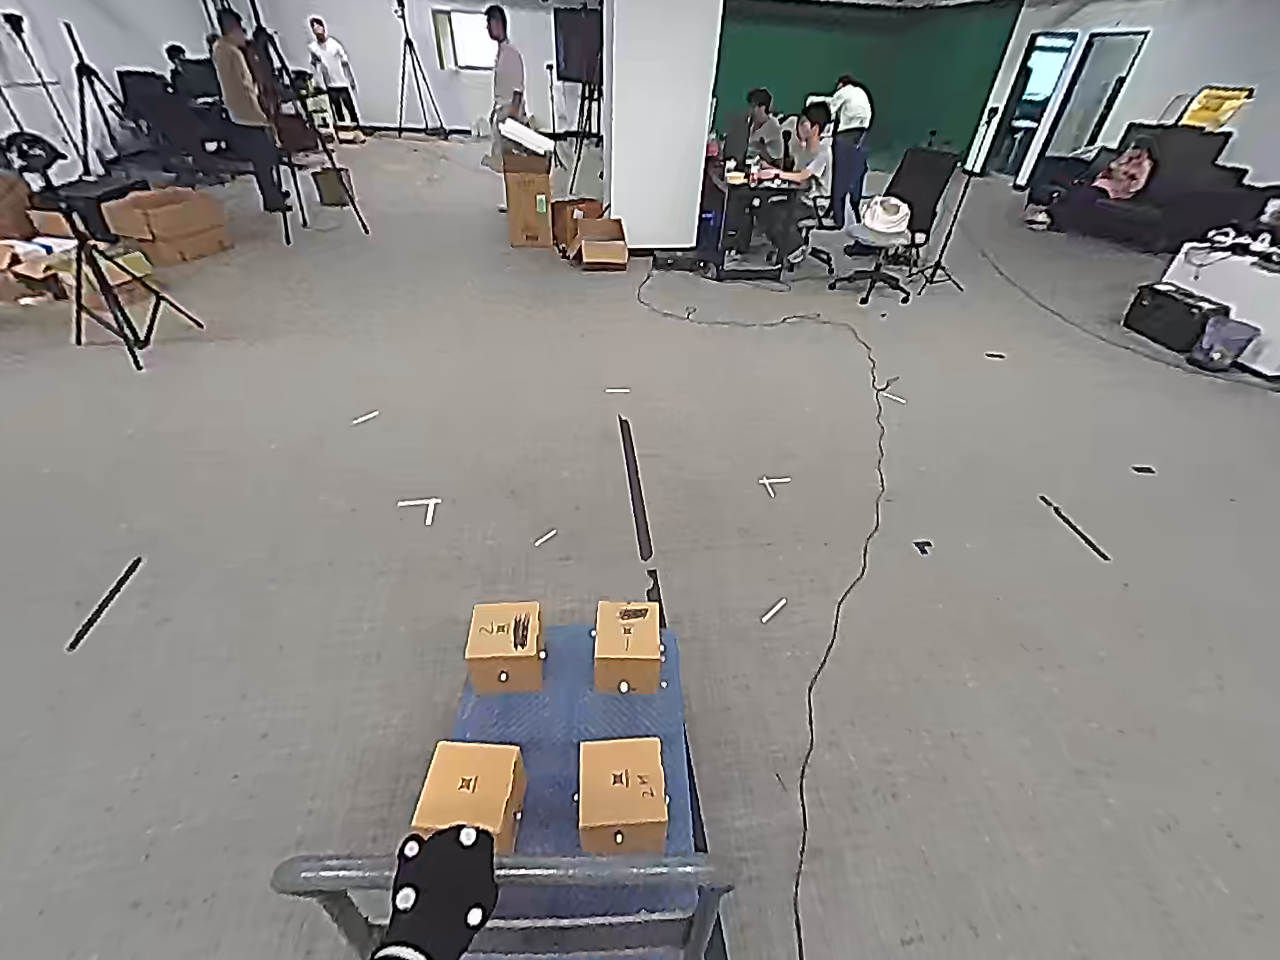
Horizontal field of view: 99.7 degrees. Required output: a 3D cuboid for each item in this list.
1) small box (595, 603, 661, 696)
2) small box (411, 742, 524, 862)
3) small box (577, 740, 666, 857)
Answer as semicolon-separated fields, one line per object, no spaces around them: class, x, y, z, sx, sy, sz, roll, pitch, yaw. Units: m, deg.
small box;-0.033;0.452;1.445;0.168;0.176;0.179;2;39;-1
small box;-0.350;0.677;1.136;0.179;0.176;0.168;4;37;-1
small box;-0.041;0.679;1.152;0.179;0.176;0.168;-1;38;-4
